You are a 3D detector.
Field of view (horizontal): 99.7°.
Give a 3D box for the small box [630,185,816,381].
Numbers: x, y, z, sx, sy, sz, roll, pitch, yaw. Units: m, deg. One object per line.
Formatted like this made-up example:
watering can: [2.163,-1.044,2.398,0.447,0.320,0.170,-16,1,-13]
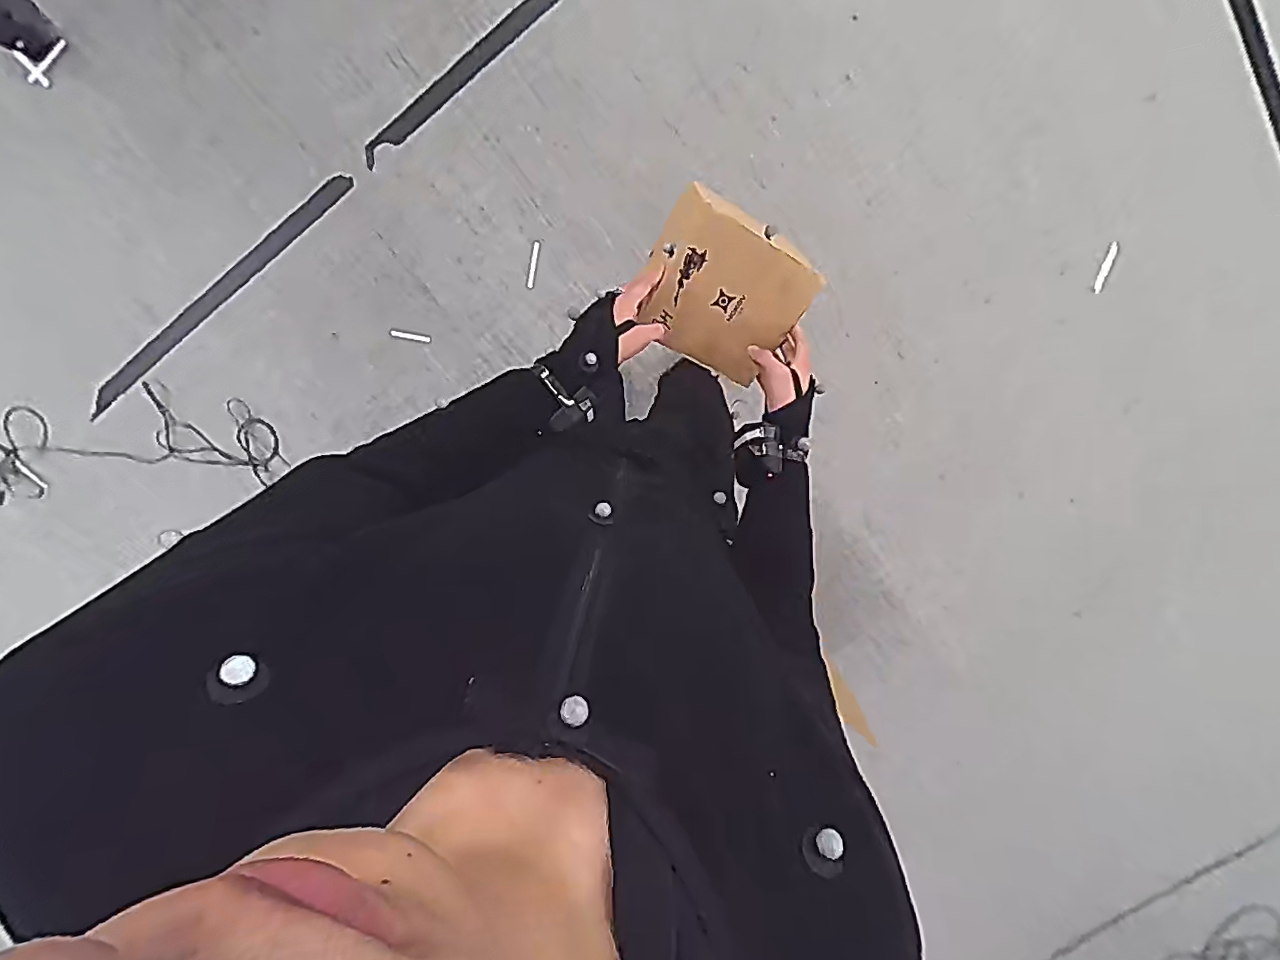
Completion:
small box: [0.098,-0.269,0.729,0.179,0.176,0.168,22,124,-18]
